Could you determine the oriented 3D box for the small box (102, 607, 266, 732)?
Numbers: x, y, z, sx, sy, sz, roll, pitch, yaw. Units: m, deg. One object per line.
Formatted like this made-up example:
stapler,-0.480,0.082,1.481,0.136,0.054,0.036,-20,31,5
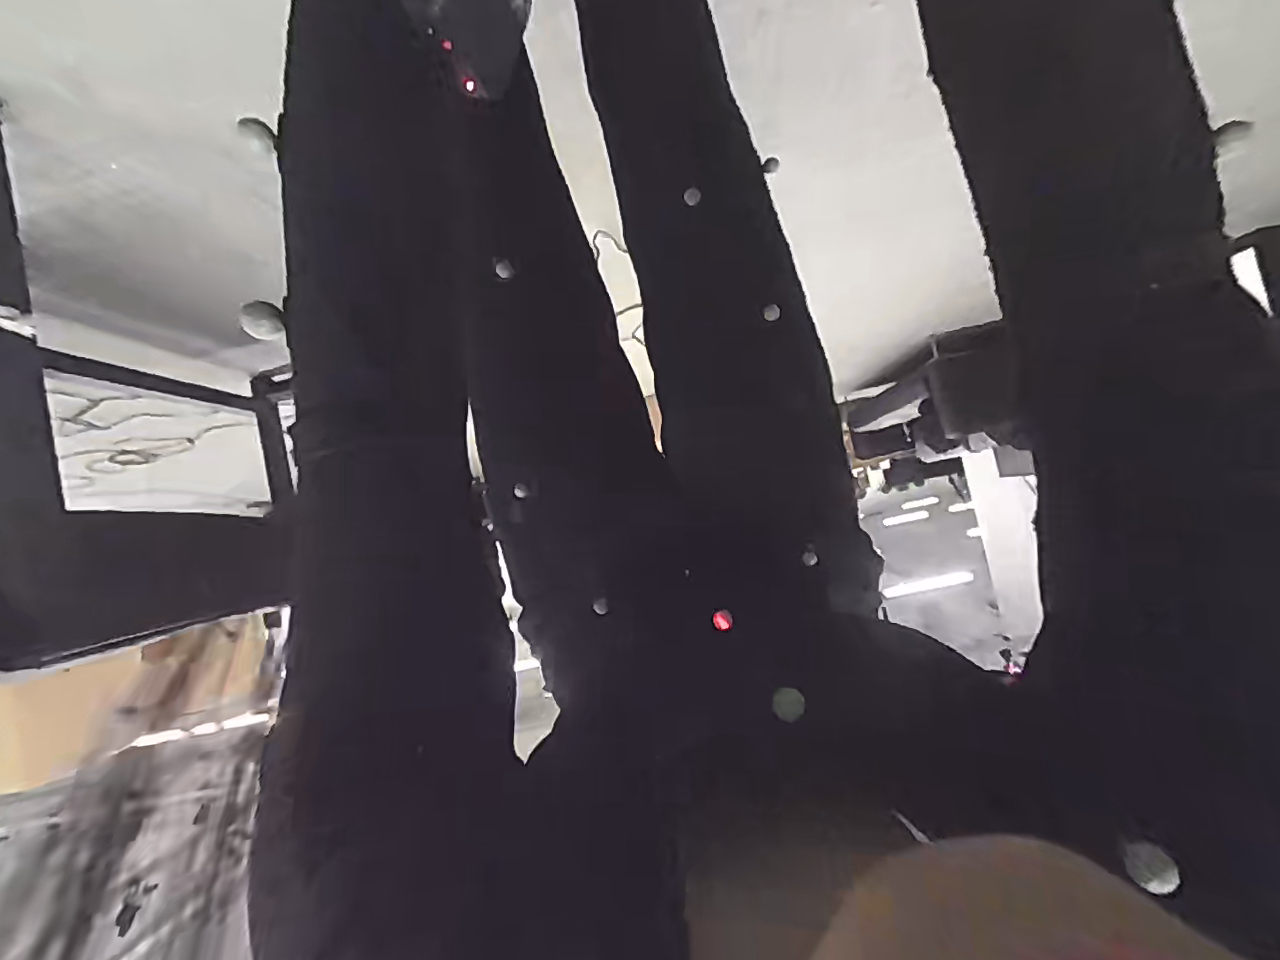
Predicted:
small box,-0.858,0.347,1.022,0.179,0.176,0.168,-12,178,4
